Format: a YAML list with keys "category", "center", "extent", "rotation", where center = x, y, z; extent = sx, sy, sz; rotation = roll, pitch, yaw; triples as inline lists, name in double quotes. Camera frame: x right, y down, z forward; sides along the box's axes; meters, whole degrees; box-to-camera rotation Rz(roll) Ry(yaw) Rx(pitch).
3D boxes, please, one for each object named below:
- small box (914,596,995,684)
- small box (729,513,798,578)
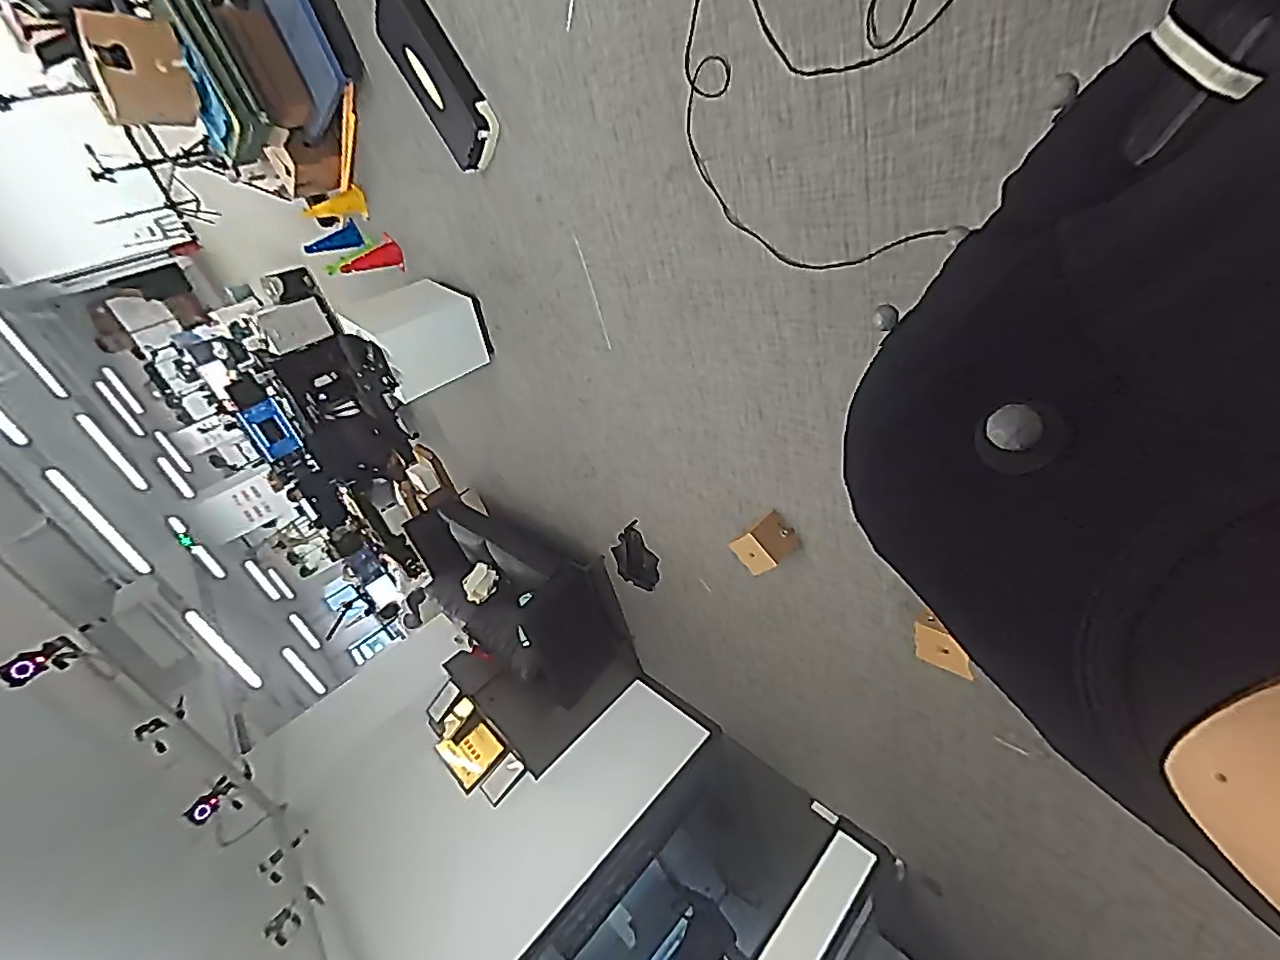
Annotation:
- category: "small box"
  center: [0.986, 0.493, 1.691]
  extent: [0.179, 0.176, 0.168]
  rotation: [18, 135, 47]
- category: "small box"
  center: [0.497, 0.262, 2.161]
  extent: [0.168, 0.176, 0.179]
  rotation: [49, 150, 6]
